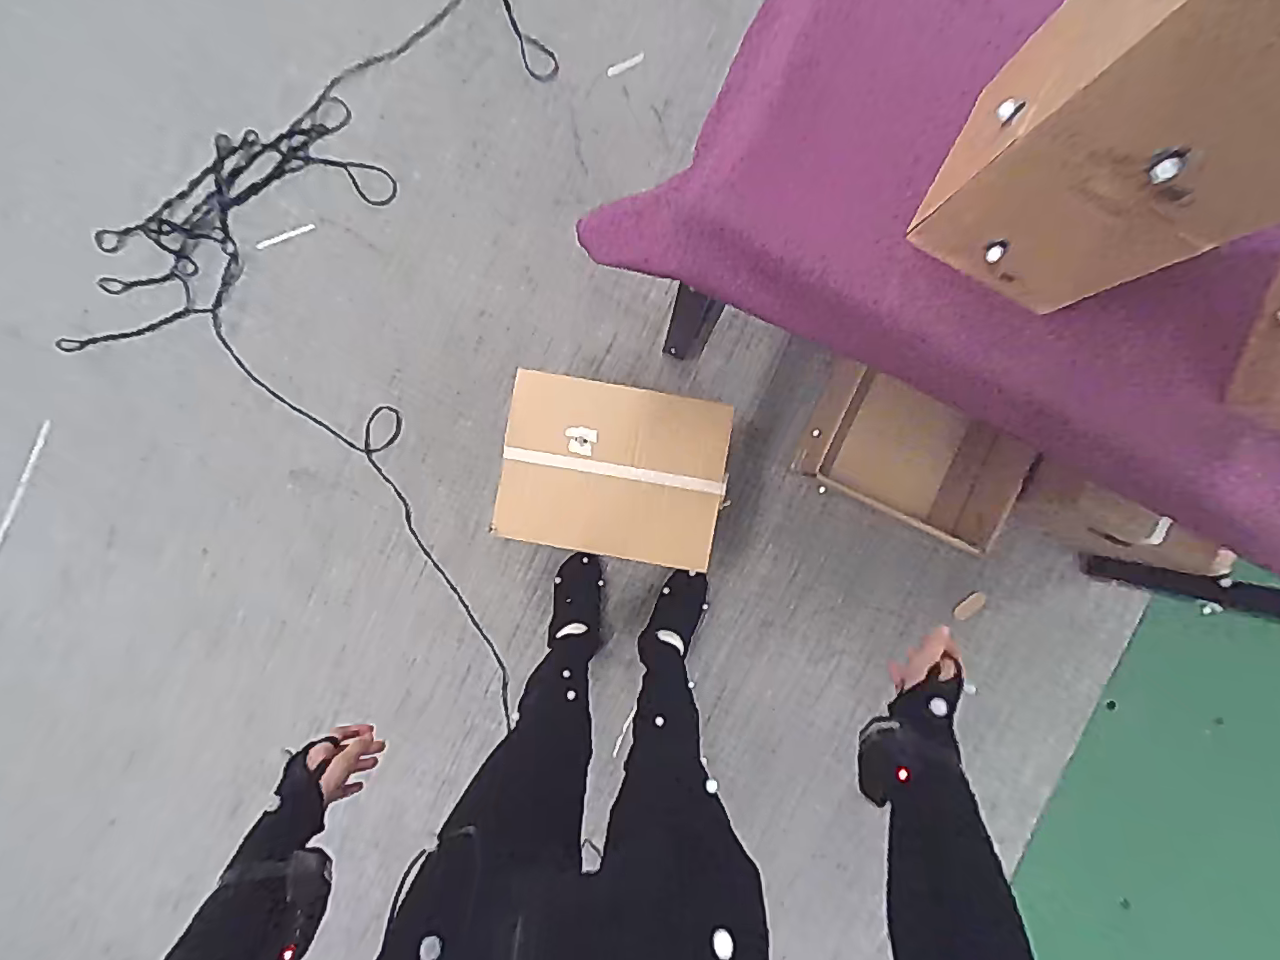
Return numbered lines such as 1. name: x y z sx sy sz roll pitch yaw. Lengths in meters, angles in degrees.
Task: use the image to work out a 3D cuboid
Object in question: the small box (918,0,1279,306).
1. small box: 0.384 -0.285 0.472 0.168 0.176 0.179 28 91 -1
